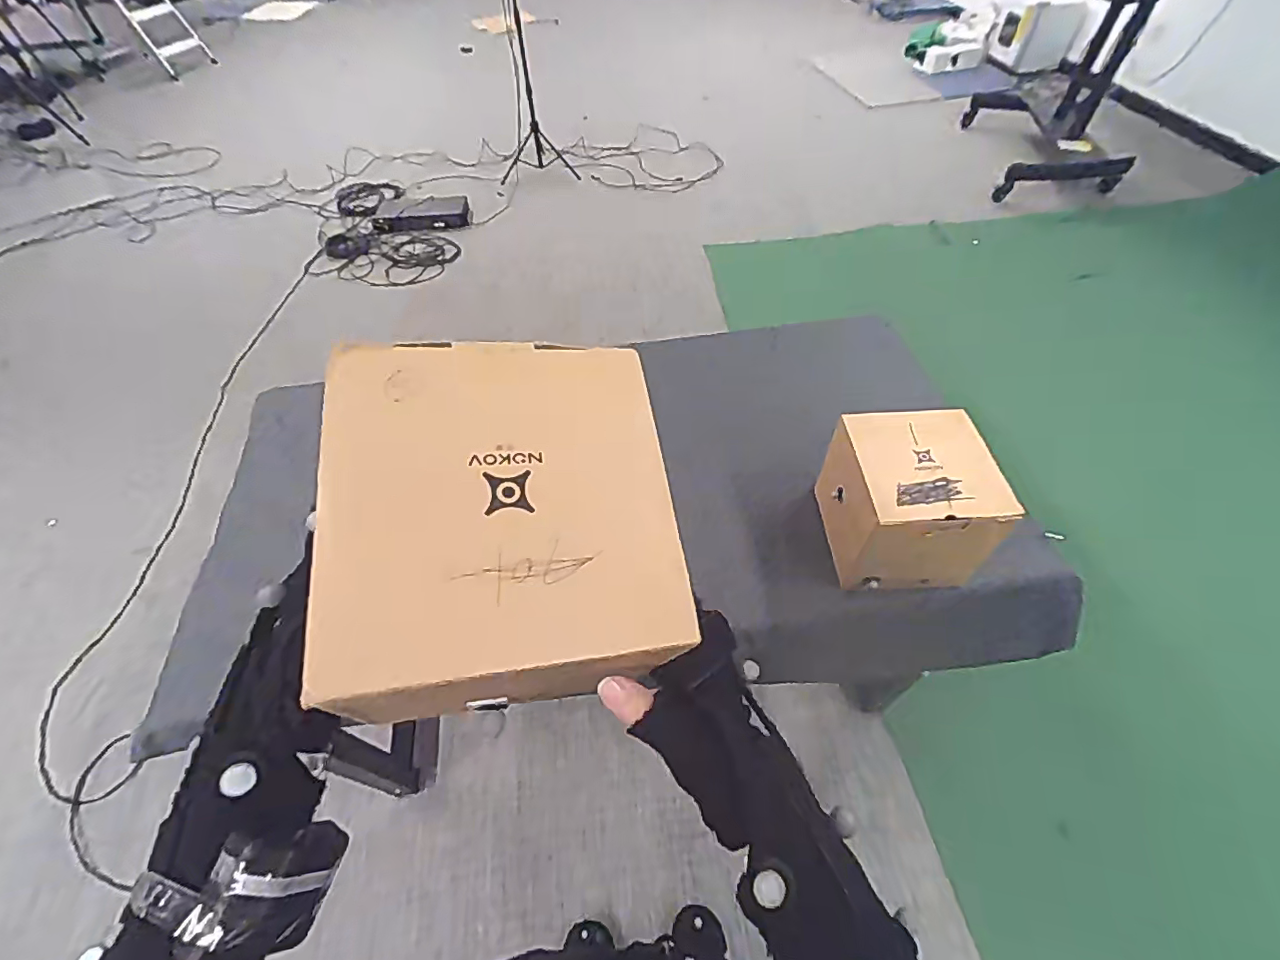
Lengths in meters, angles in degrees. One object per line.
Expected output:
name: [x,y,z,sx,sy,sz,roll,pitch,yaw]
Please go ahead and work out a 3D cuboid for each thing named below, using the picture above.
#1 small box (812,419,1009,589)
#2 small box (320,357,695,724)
small box: [0.347,0.039,0.736,0.168,0.176,0.179,-2,50,1]
small box: [-0.085,0.043,0.343,0.168,0.176,0.179,-4,65,-17]
